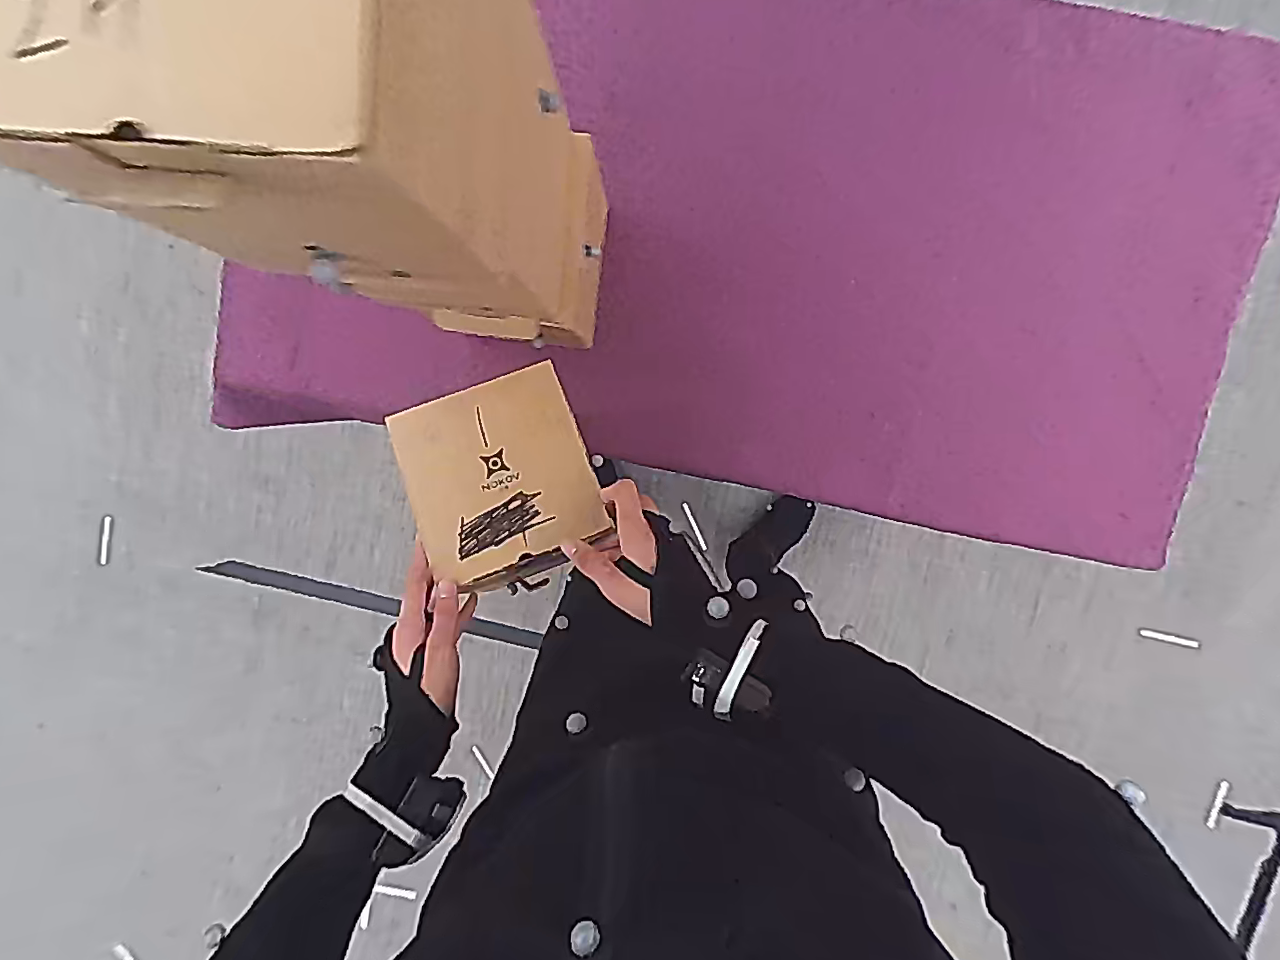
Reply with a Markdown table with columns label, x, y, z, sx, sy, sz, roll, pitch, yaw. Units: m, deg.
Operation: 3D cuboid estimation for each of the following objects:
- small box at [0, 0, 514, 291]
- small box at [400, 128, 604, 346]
| label | x | y | z | sx | sy | sz | roll | pitch | yaw |
| --- | --- | --- | --- | --- | --- | --- | --- | --- | --- |
| small box | -0.164 | -0.206 | 0.257 | 0.168 | 0.176 | 0.179 | 5 | 96 | 2 |
| small box | -0.135 | -0.249 | 0.584 | 0.168 | 0.176 | 0.179 | 8 | 97 | 1 |
